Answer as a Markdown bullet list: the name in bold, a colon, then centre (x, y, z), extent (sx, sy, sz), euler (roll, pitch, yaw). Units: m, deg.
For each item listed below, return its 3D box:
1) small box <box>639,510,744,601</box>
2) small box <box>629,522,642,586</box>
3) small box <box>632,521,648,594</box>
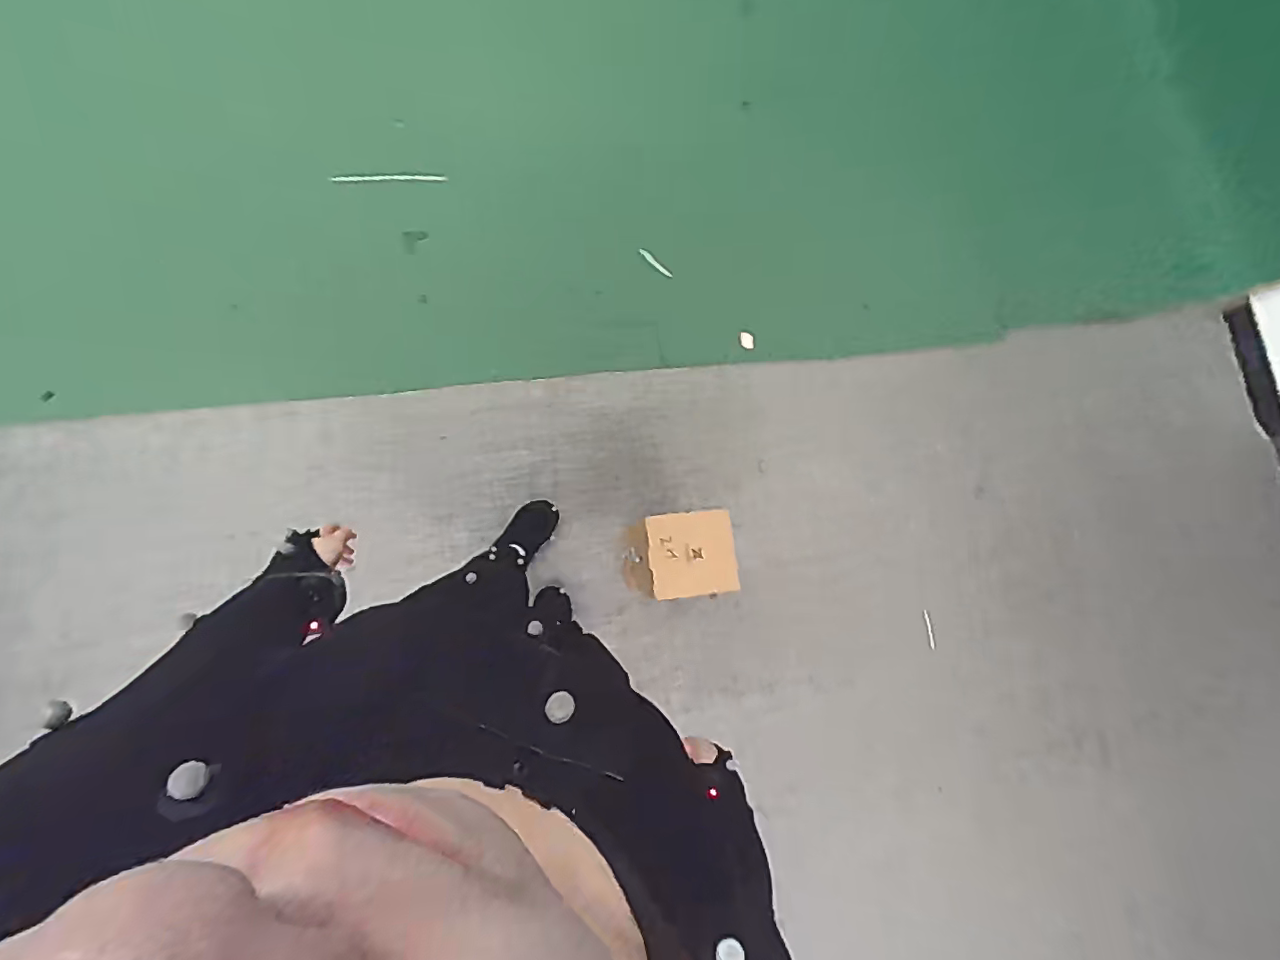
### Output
- **small box**: centre (0.101, 0.157, 1.134), extent (0.179, 0.176, 0.168), euler (-5, 81, -8)
- **small box**: centre (0.062, 0.200, 1.456), extent (0.179, 0.176, 0.168), euler (-2, 82, -7)
- **small box**: centre (0.082, 0.179, 1.296), extent (0.179, 0.176, 0.168), euler (-5, 81, -7)
